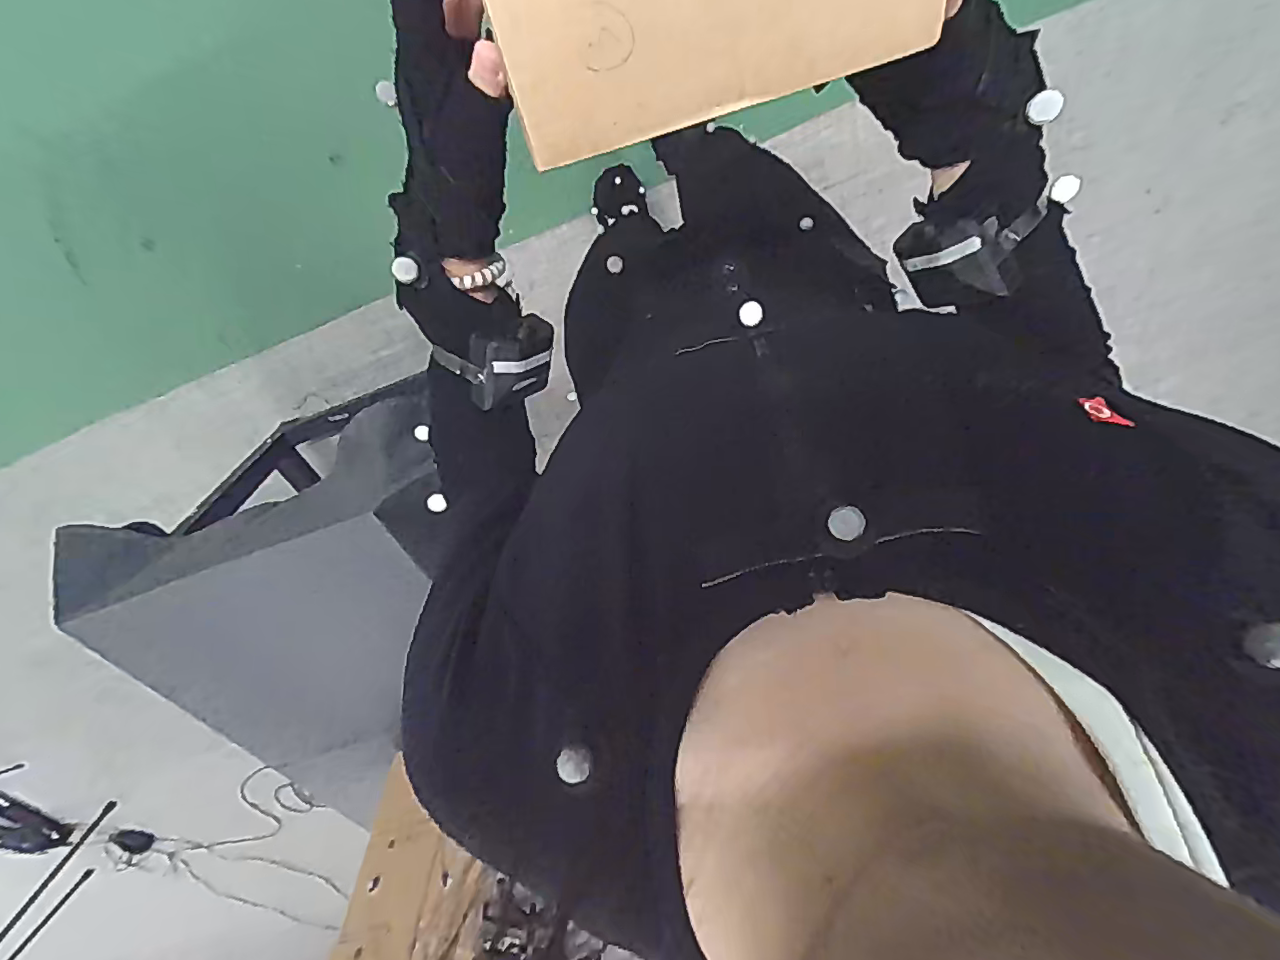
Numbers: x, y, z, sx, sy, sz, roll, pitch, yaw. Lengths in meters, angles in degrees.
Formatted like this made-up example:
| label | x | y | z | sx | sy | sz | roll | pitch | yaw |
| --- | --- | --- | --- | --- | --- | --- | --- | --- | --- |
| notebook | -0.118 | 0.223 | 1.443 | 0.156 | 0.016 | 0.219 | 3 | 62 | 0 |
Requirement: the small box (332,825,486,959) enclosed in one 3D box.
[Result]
| label | x | y | z | sx | sy | sz | roll | pitch | yaw |
| --- | --- | --- | --- | --- | --- | --- | --- | --- | --- |
| small box | -0.404 | 0.755 | 0.982 | 0.168 | 0.176 | 0.179 | -20 | 123 | 10 |

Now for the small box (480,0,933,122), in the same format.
| label | x | y | z | sx | sy | sz | roll | pitch | yaw |
| --- | --- | --- | --- | --- | --- | --- | --- | --- | --- |
| small box | 0.004 | -0.274 | 0.216 | 0.179 | 0.176 | 0.168 | -17 | 136 | 0 |
